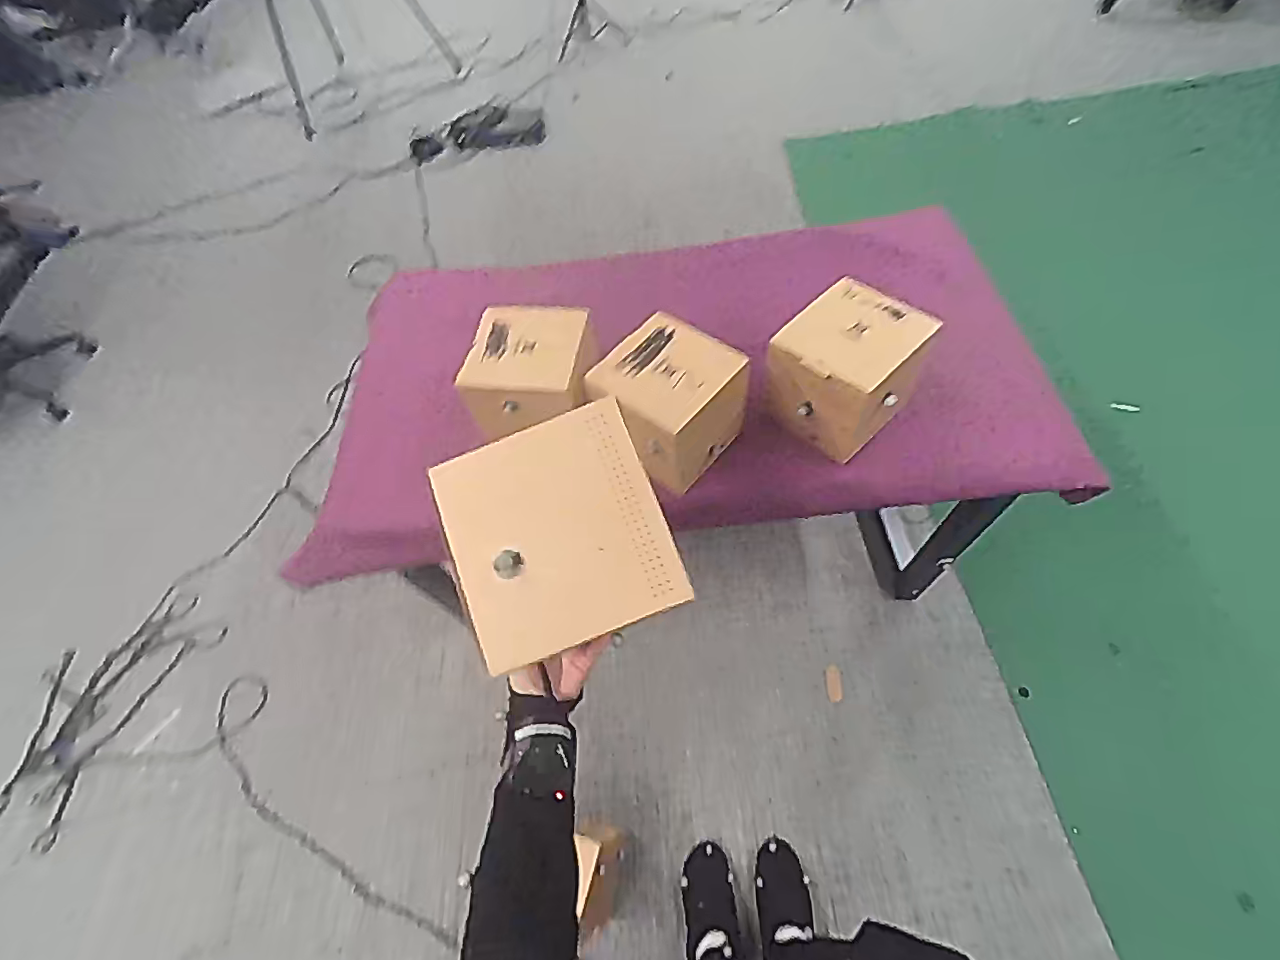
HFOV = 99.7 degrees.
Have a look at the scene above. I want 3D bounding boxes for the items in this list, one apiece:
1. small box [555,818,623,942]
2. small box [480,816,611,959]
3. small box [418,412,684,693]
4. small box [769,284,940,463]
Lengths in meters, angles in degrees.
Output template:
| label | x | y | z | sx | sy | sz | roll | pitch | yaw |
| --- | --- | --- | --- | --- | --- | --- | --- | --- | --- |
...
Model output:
| label | x | y | z | sx | sy | sz | roll | pitch | yaw |
| --- | --- | --- | --- | --- | --- | --- | --- | --- | --- |
| small box | -0.137 | 0.832 | 1.146 | 0.168 | 0.176 | 0.179 | 6 | 60 | 11 |
| small box | -0.162 | 0.751 | 1.008 | 0.168 | 0.176 | 0.179 | 11 | 61 | 15 |
| small box | -0.064 | 0.064 | 0.492 | 0.176 | 0.168 | 0.179 | -21 | 77 | 1 |
| small box | 0.316 | -0.158 | 0.835 | 0.179 | 0.176 | 0.168 | -41 | 62 | -16 |
